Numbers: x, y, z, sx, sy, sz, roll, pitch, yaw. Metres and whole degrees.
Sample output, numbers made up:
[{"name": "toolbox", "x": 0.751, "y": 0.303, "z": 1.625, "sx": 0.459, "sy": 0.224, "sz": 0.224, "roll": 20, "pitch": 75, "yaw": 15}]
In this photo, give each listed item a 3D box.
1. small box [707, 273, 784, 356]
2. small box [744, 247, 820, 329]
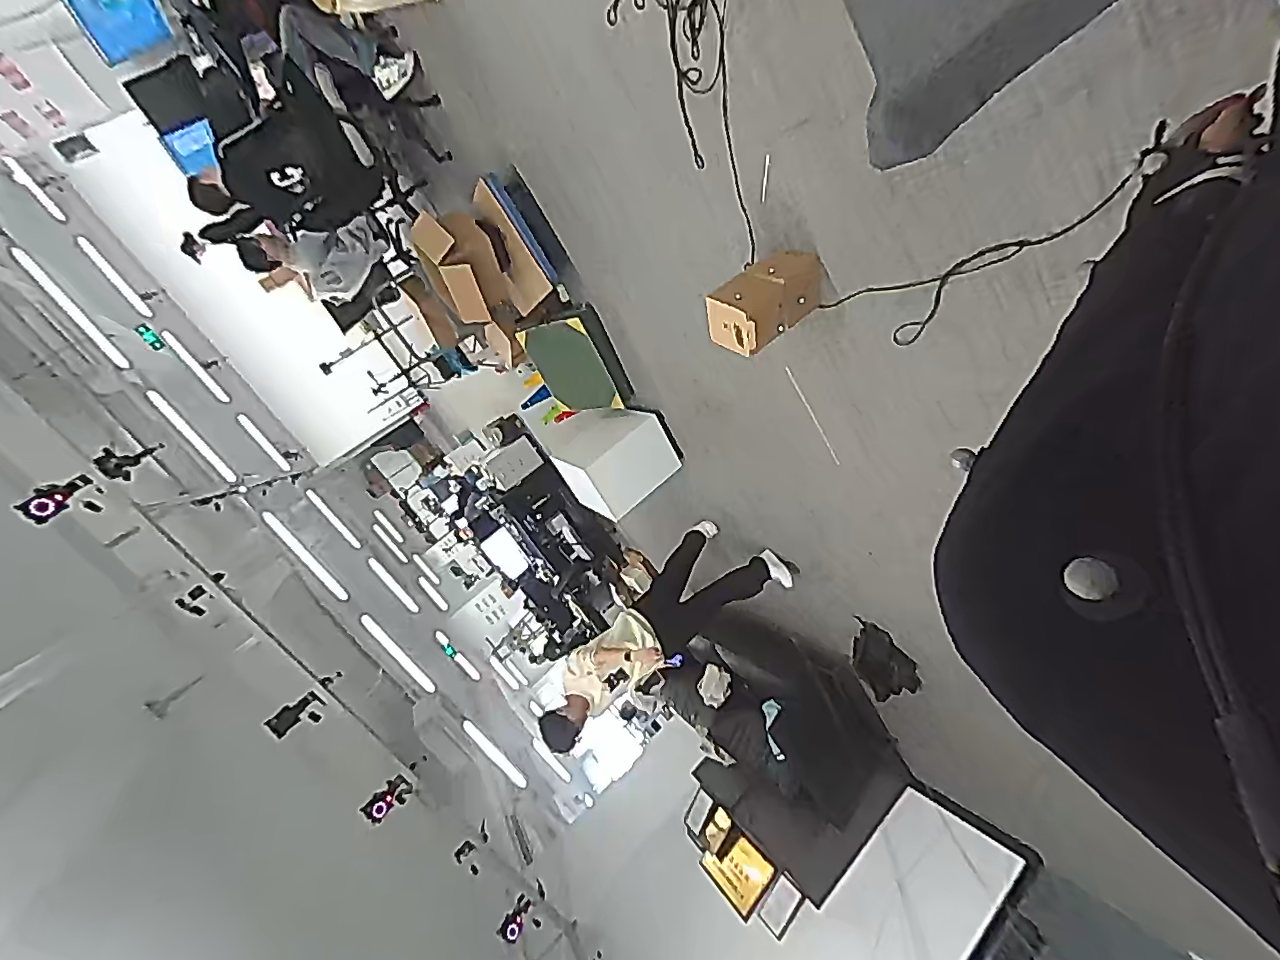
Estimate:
[{"name": "small box", "x": 0.338, "y": -0.528, "z": 1.708, "sx": 0.179, "sy": 0.176, "sz": 0.168, "roll": 37, "pitch": 156, "yaw": 37}, {"name": "small box", "x": 0.465, "y": -0.625, "z": 1.751, "sx": 0.168, "sy": 0.176, "sz": 0.179, "roll": 34, "pitch": 155, "yaw": 42}]
